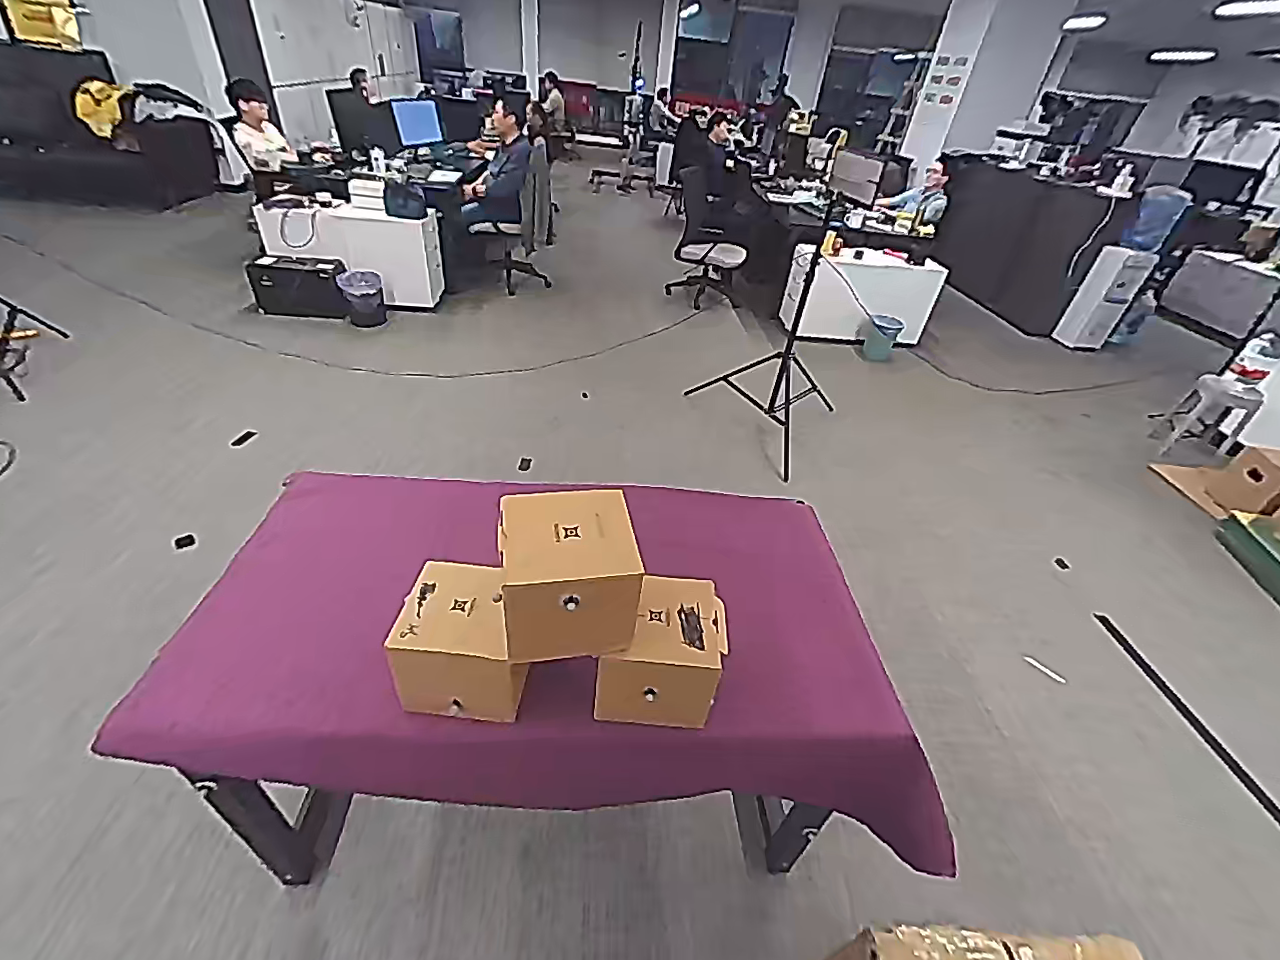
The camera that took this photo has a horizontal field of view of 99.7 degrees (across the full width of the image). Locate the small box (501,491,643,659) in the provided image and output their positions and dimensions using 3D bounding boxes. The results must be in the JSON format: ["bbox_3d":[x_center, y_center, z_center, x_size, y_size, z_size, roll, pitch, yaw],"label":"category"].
[{"bbox_3d":[-0.102,0.135,0.767,0.179,0.176,0.168,-3,39,-13],"label":"small box"}]

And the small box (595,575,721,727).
[{"bbox_3d":[0.025,0.276,0.872,0.179,0.176,0.168,5,36,-1],"label":"small box"}]

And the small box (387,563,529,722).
[{"bbox_3d":[-0.265,0.256,0.851,0.179,0.176,0.168,7,36,-1],"label":"small box"}]
